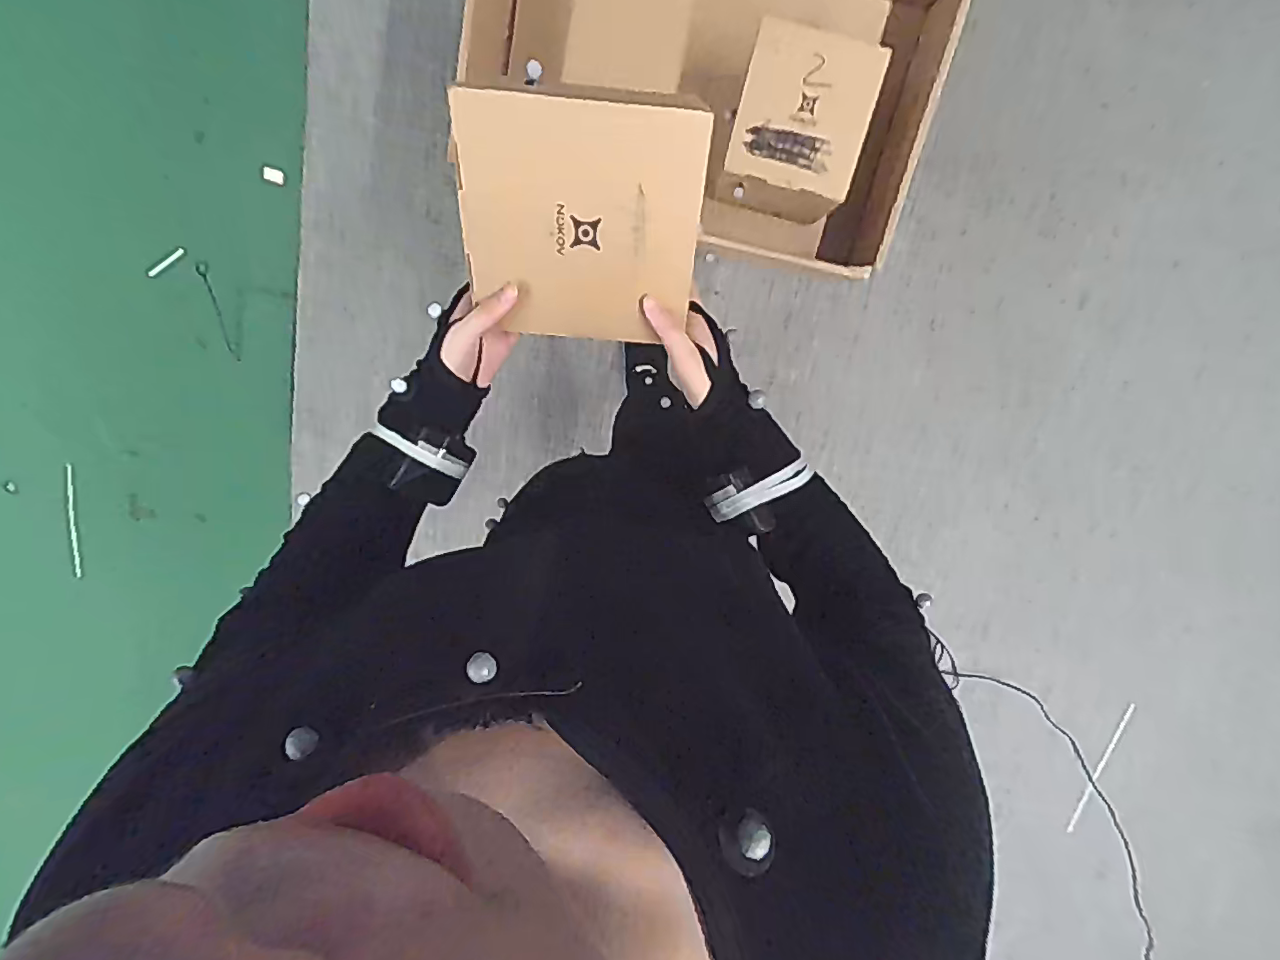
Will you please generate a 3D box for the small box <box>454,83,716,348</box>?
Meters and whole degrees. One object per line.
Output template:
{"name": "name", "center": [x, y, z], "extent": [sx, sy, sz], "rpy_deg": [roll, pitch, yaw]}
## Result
{"name": "small box", "center": [-0.042, -0.231, 0.465], "extent": [0.179, 0.176, 0.168], "rpy_deg": [5, 127, -3]}
